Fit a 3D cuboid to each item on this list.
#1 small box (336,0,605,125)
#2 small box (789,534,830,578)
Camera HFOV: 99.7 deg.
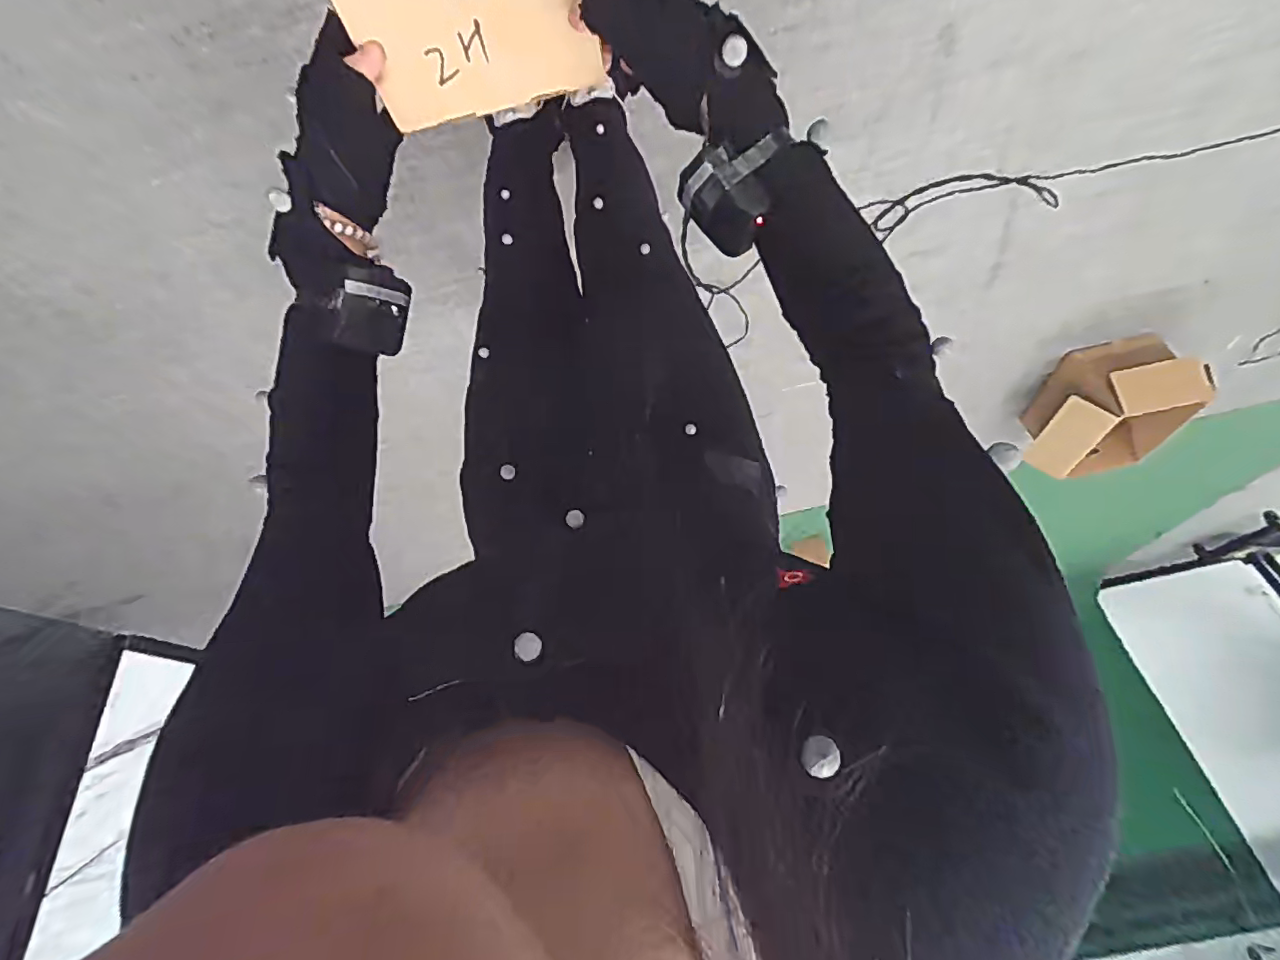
[{"bbox_3d":[-0.128,-0.395,0.376,0.168,0.176,0.179,-11,148,4],"label":"small box"},{"bbox_3d":[0.940,0.425,3.021,0.179,0.176,0.168,-16,149,5],"label":"small box"}]
